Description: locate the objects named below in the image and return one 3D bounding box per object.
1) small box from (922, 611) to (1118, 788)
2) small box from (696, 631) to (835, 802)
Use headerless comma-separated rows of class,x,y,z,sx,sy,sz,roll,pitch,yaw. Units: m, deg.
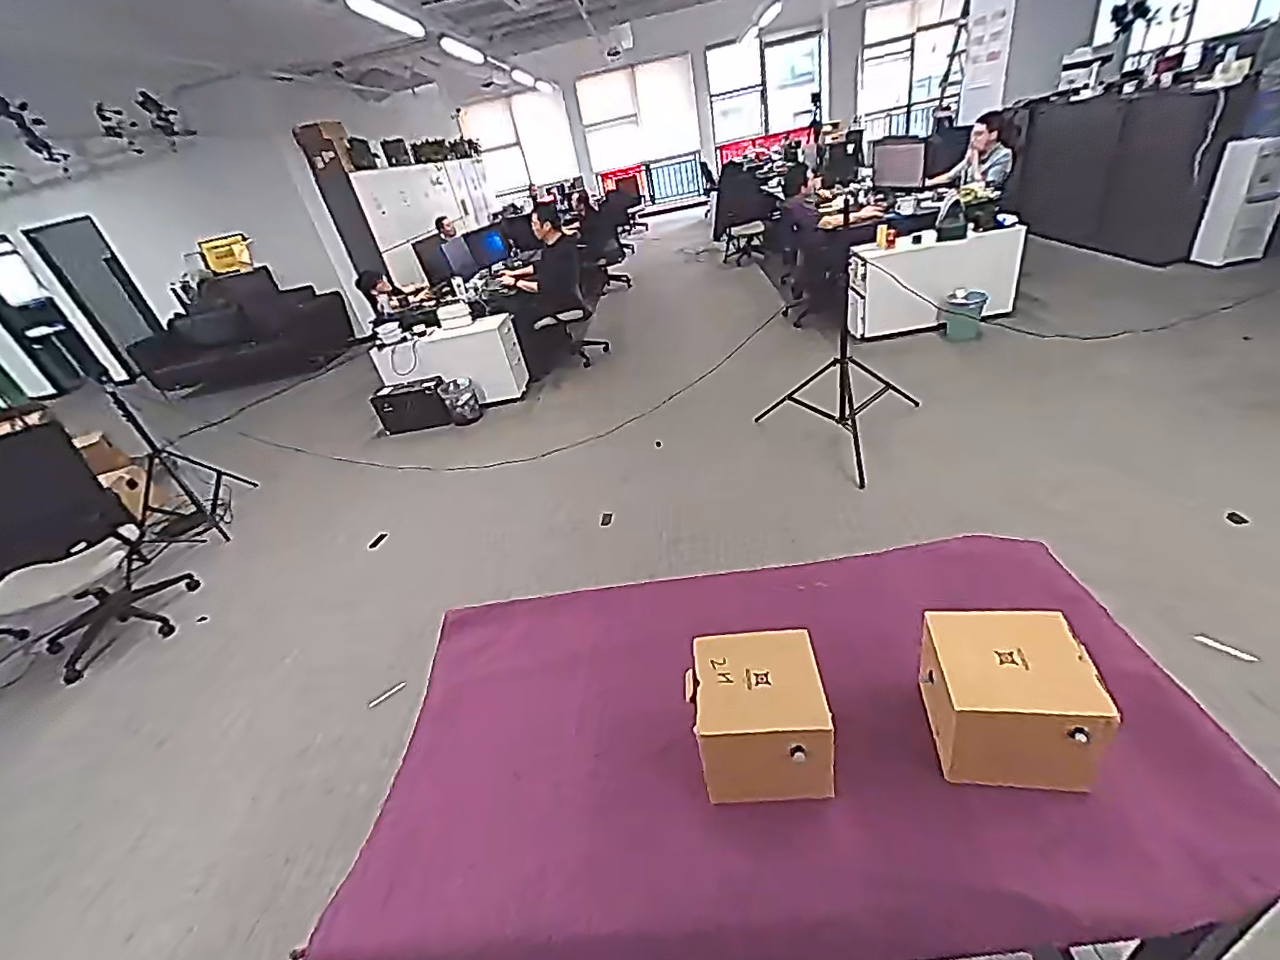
small box,0.504,0.302,0.752,0.179,0.176,0.168,-4,32,15
small box,0.180,0.349,0.799,0.179,0.176,0.168,-8,31,9
